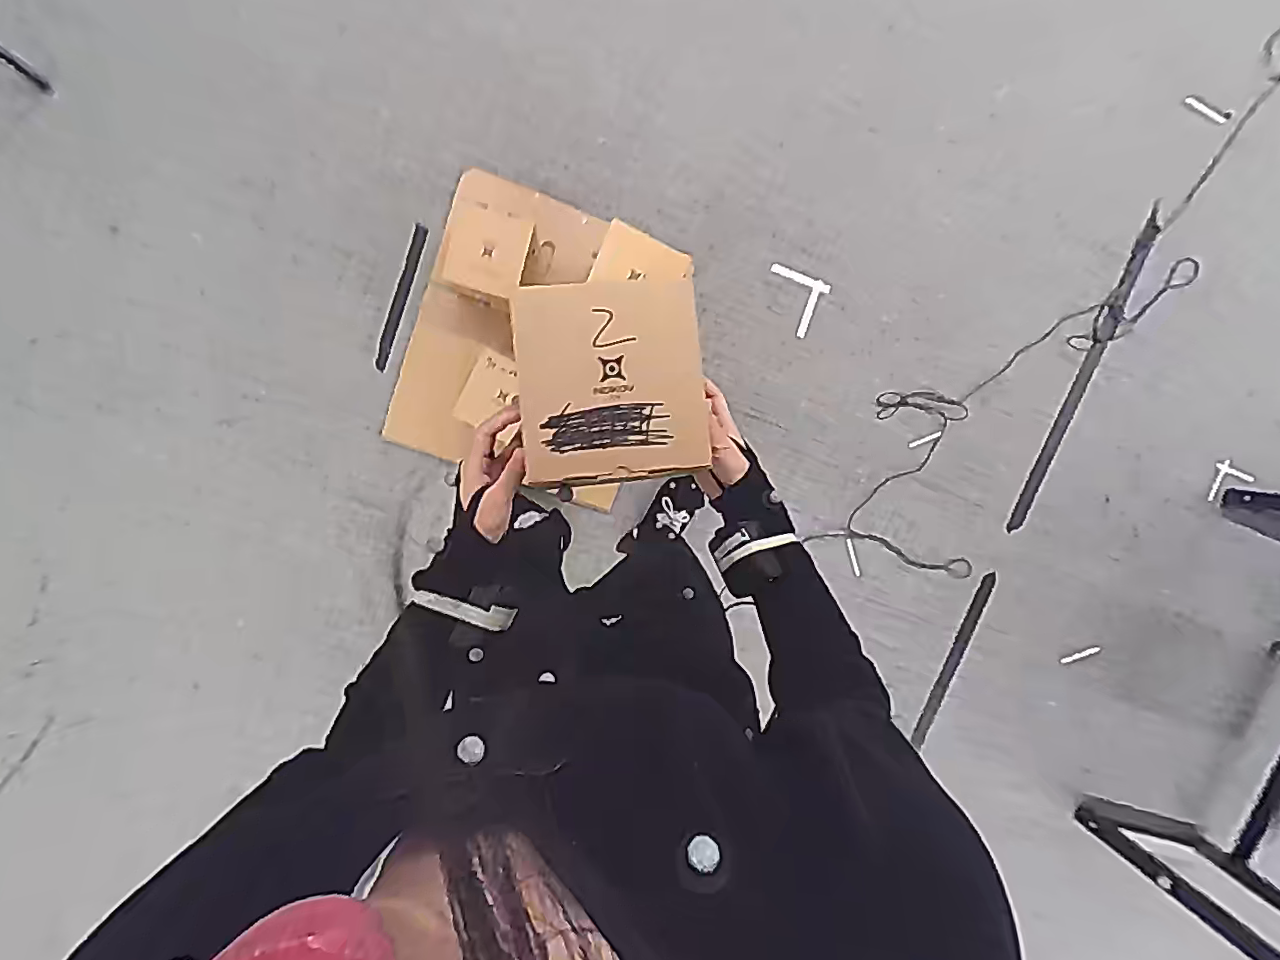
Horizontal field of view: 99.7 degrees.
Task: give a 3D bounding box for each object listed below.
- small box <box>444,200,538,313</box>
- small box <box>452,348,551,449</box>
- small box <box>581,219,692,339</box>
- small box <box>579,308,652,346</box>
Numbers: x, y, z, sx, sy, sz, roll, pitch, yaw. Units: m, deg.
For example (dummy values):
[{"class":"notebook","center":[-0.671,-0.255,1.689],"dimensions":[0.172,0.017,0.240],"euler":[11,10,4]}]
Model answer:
[{"class":"small box","center":[-0.335,-0.507,1.253],"dimensions":[0.168,0.176,0.179],"euler":[14,95,-8]},{"class":"small box","center":[-0.320,-0.195,1.294],"dimensions":[0.168,0.176,0.179],"euler":[28,95,-11]},{"class":"small box","center":[-0.017,-0.410,1.142],"dimensions":[0.179,0.176,0.168],"euler":[23,94,-11]},{"class":"small box","center":[-0.040,-0.431,1.302],"dimensions":[0.179,0.176,0.168],"euler":[19,95,-11]}]
